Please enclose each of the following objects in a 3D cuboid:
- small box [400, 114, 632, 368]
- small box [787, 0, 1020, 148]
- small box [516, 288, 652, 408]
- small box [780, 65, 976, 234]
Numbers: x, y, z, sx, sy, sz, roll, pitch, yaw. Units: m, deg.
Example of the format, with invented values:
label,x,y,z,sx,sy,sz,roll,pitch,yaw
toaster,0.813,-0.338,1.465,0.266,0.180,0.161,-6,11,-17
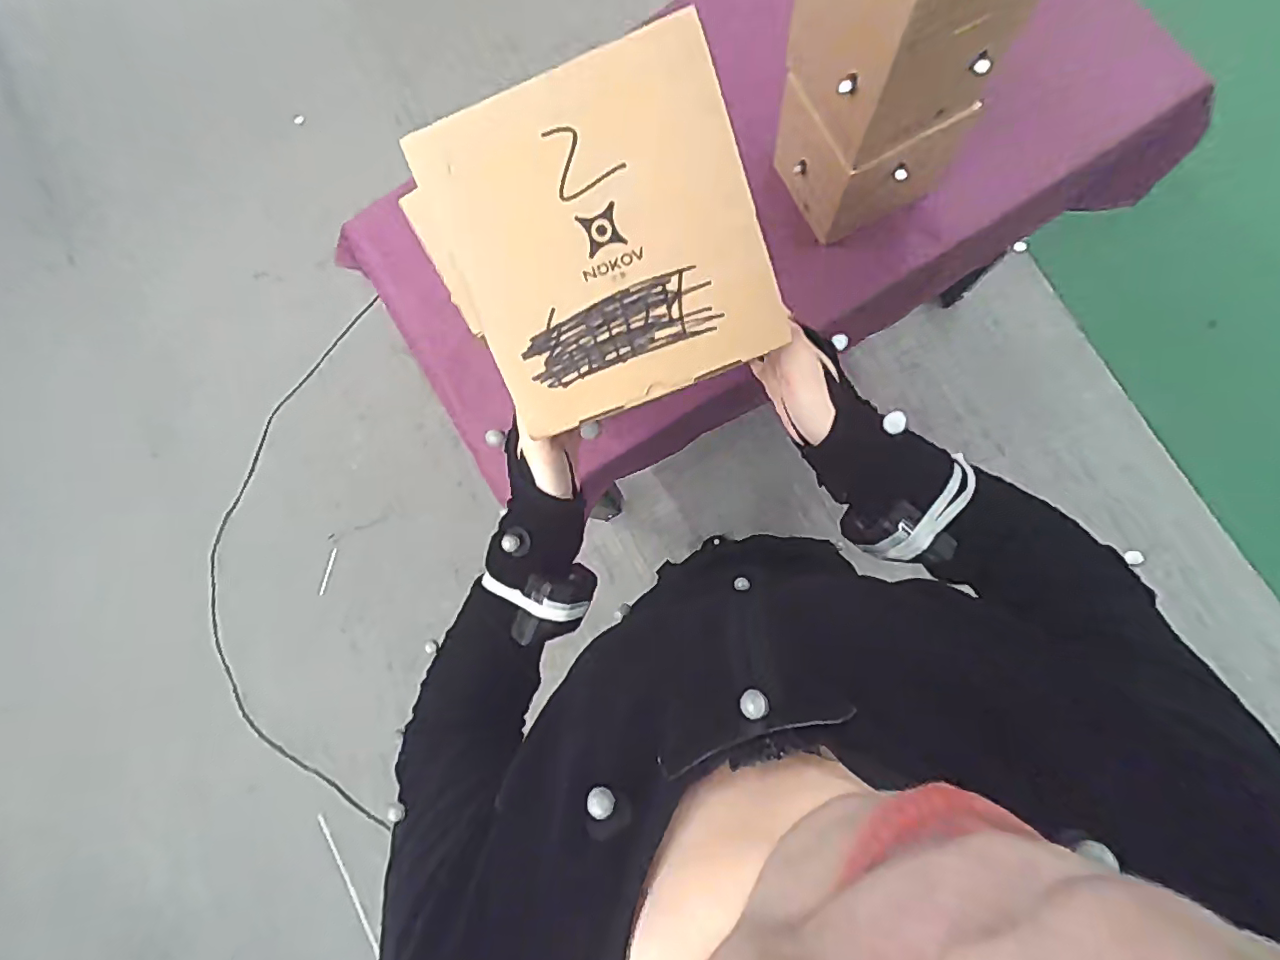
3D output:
label,x,y,z,sx,sy,sz,roll,pitch,yaw
small box,-0.125,-0.247,0.613,0.168,0.176,0.179,-31,79,3
small box,0.278,-0.503,0.584,0.168,0.176,0.179,-26,80,4
small box,-0.100,-0.226,0.774,0.179,0.176,0.168,-31,80,3
small box,0.305,-0.478,0.743,0.179,0.176,0.168,-26,82,4
